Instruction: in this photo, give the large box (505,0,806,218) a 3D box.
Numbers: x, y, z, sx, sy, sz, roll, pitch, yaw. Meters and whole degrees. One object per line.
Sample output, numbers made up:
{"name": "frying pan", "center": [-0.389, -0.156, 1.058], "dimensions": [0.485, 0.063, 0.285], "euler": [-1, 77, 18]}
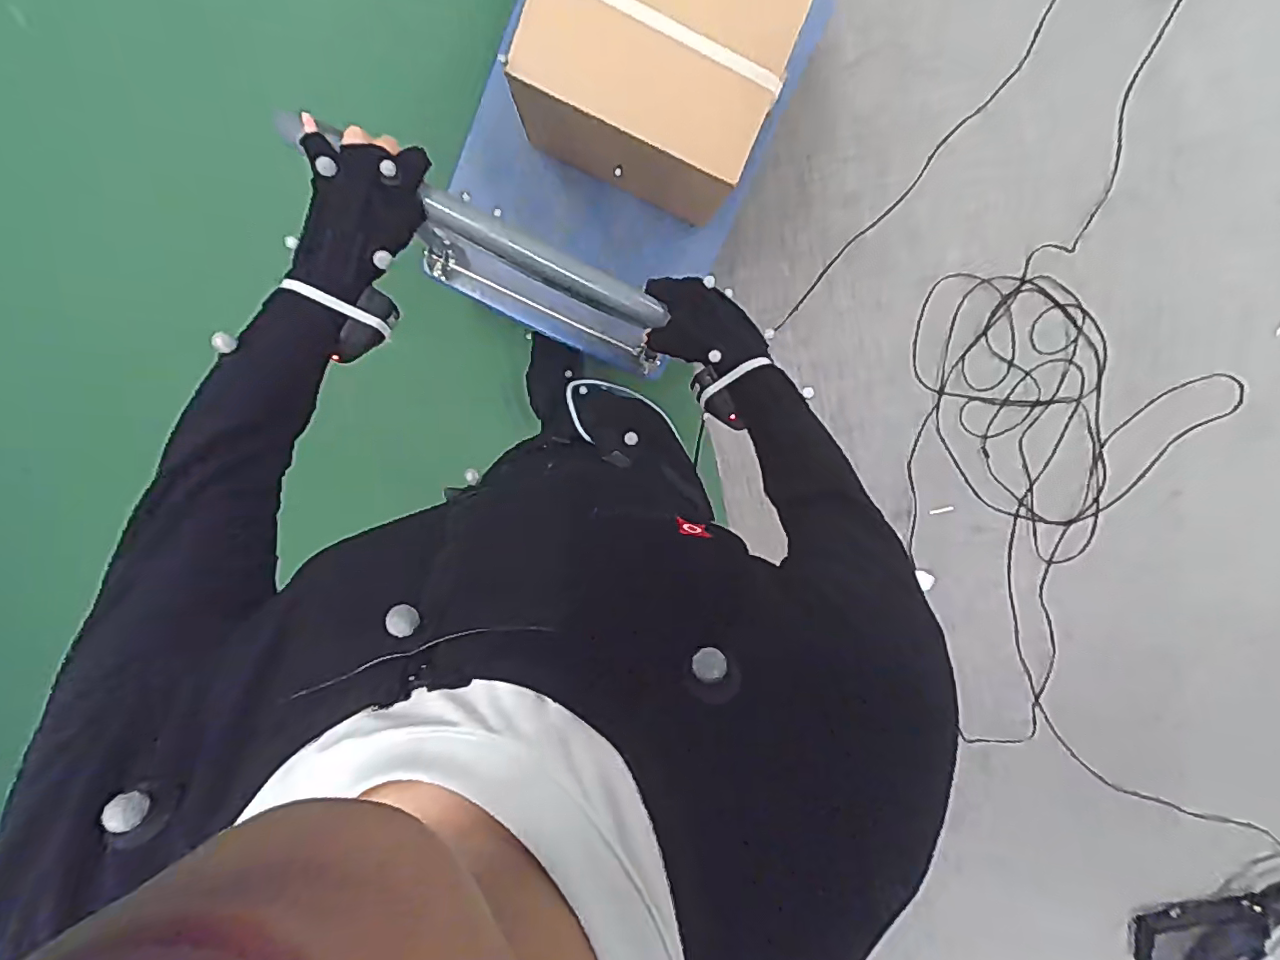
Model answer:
{"name": "large box", "center": [0.021, -0.736, 0.980], "dimensions": [0.408, 0.320, 0.320], "euler": [22, 100, -9]}
